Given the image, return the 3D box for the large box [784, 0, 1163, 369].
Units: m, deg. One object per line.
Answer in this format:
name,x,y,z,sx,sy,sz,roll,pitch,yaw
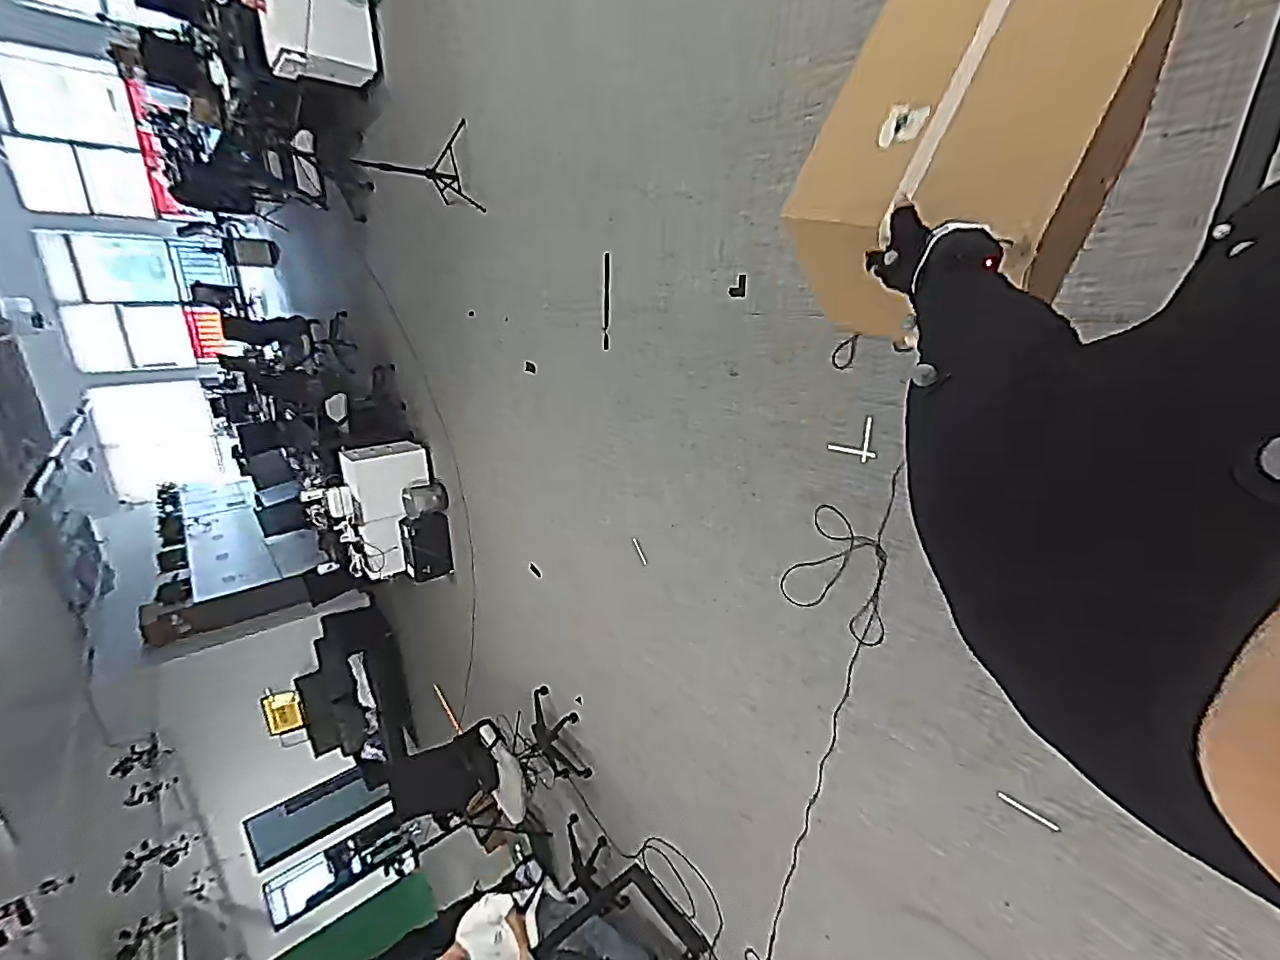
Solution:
large box,0.474,-0.437,0.796,0.320,0.320,0.408,27,90,36
